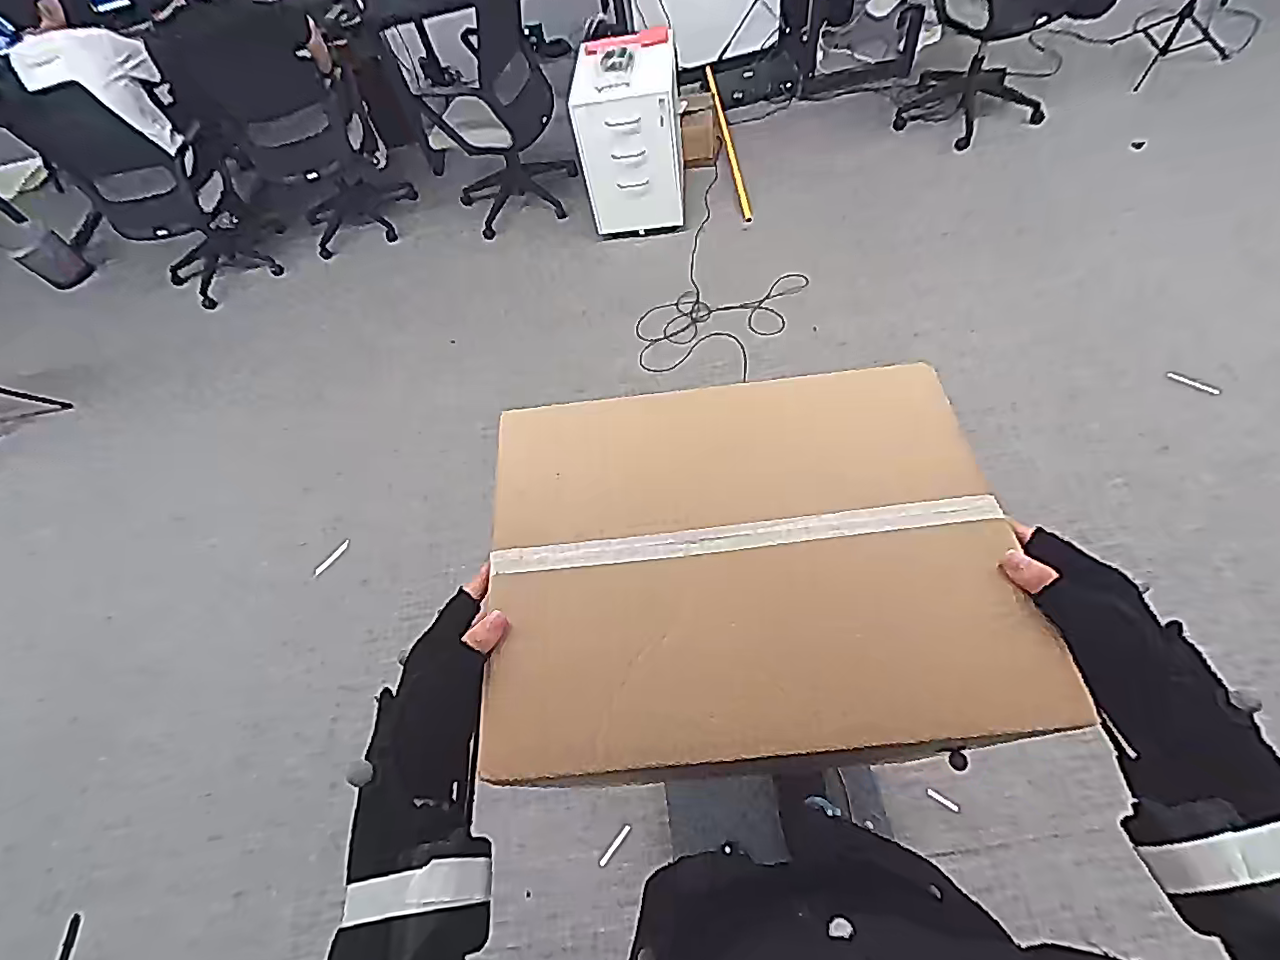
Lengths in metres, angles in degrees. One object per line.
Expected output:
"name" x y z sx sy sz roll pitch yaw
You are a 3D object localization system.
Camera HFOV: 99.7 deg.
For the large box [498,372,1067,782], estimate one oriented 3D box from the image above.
"large box" 0.098 0.126 0.574 0.408 0.320 0.320 -7 59 2
